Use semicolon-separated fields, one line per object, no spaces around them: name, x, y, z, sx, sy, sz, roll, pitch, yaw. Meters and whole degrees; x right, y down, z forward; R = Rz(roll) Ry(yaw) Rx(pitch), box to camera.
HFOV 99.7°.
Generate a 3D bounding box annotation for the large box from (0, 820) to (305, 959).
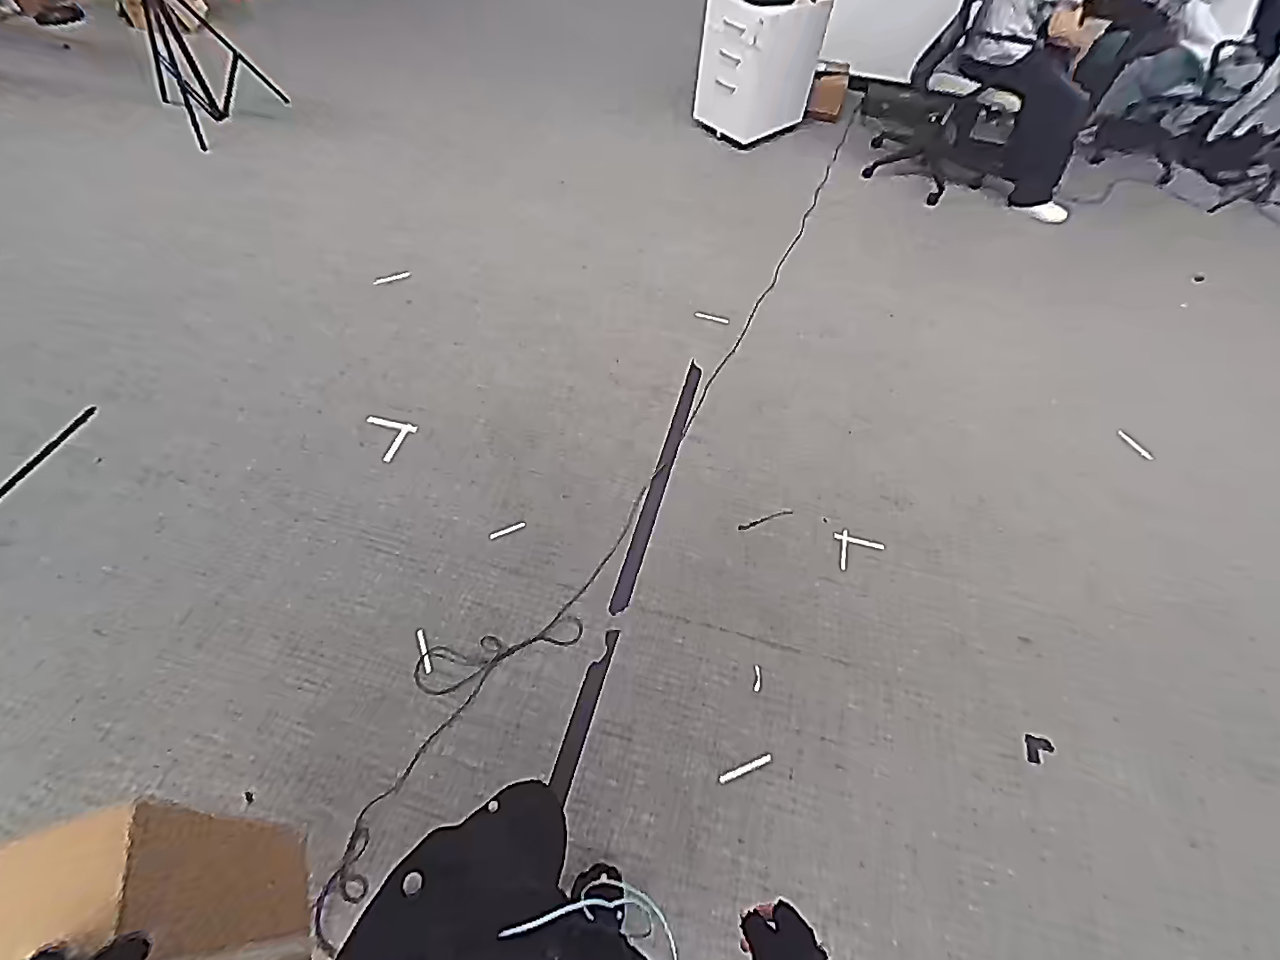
large box;-0.629;0.631;0.600;0.320;0.408;0.320;-16;55;-16
